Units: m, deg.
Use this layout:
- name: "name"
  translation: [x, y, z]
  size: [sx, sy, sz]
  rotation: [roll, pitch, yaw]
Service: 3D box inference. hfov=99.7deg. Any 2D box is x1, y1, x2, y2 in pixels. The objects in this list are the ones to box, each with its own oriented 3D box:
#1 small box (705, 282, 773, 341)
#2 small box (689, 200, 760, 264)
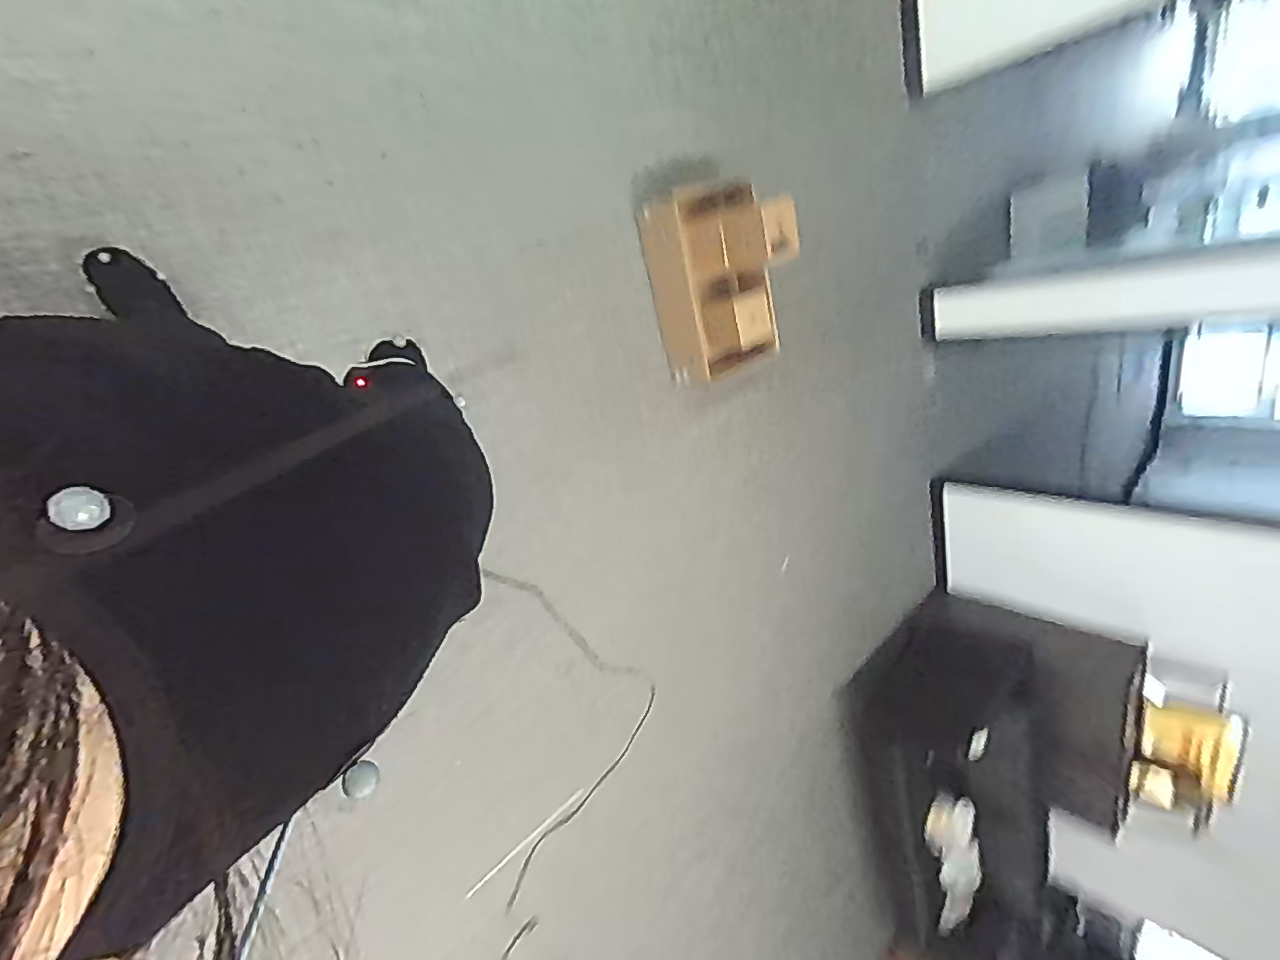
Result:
- name: "small box"
  translation: [0.355, -0.610, 1.970]
  size: [0.179, 0.176, 0.168]
  rotation: [-30, 116, -30]
- name: "small box"
  translation: [0.285, -0.855, 1.868]
  size: [0.179, 0.176, 0.168]
  rotation: [-26, 115, -32]
